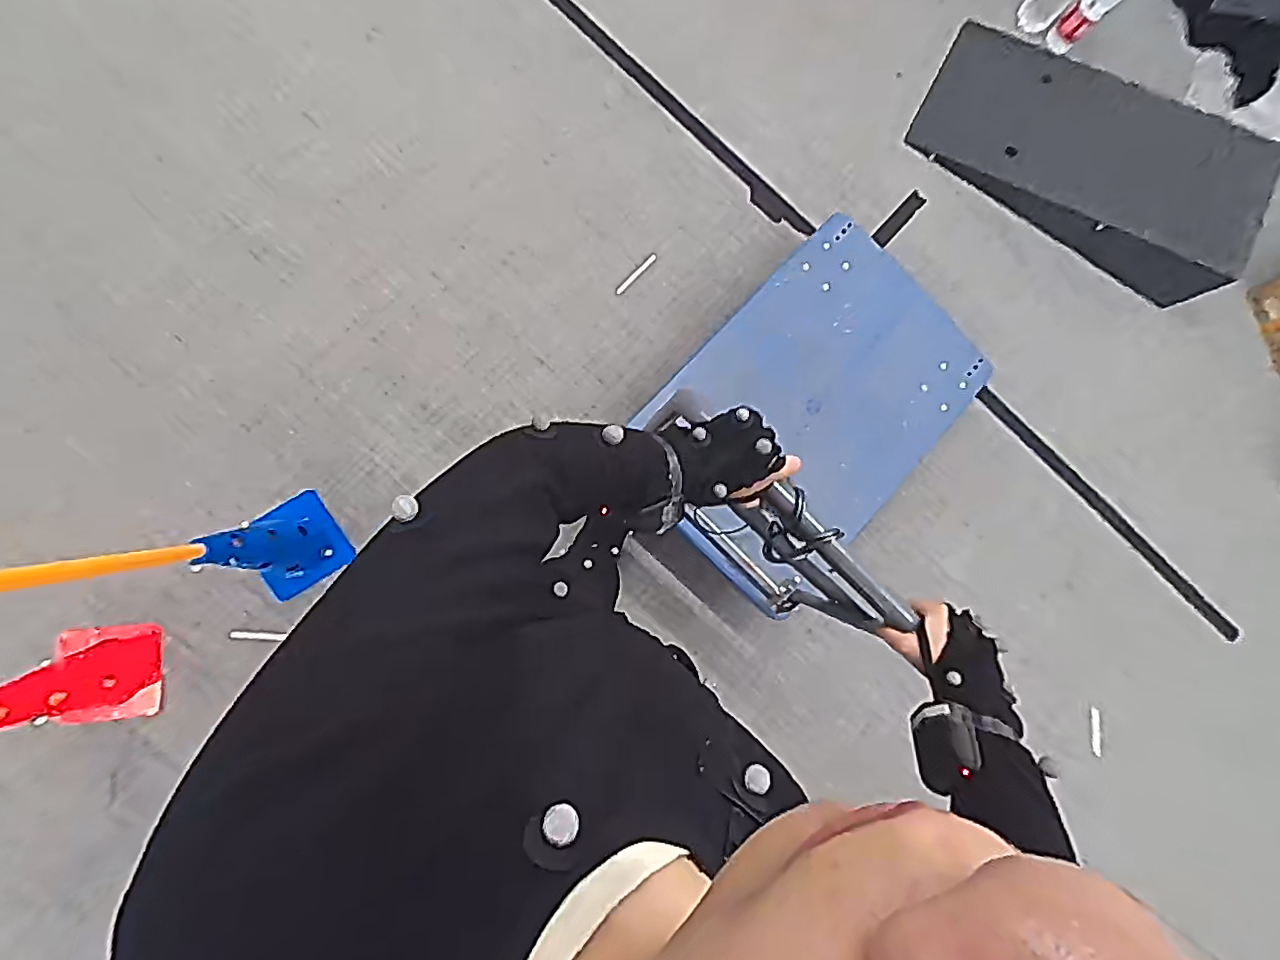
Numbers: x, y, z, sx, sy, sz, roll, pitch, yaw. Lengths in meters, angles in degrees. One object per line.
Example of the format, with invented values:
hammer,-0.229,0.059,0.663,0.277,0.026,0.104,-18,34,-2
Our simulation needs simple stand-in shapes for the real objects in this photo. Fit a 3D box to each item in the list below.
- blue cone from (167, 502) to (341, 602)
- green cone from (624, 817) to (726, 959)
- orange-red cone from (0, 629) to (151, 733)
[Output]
blue cone,-0.785,0.148,1.083,0.192,0.380,0.193,-32,90,-9
green cone,0.109,0.919,1.124,0.200,0.368,0.202,29,82,-4
orange-red cone,-1.132,0.409,0.991,0.199,0.360,0.198,-1,85,-10
